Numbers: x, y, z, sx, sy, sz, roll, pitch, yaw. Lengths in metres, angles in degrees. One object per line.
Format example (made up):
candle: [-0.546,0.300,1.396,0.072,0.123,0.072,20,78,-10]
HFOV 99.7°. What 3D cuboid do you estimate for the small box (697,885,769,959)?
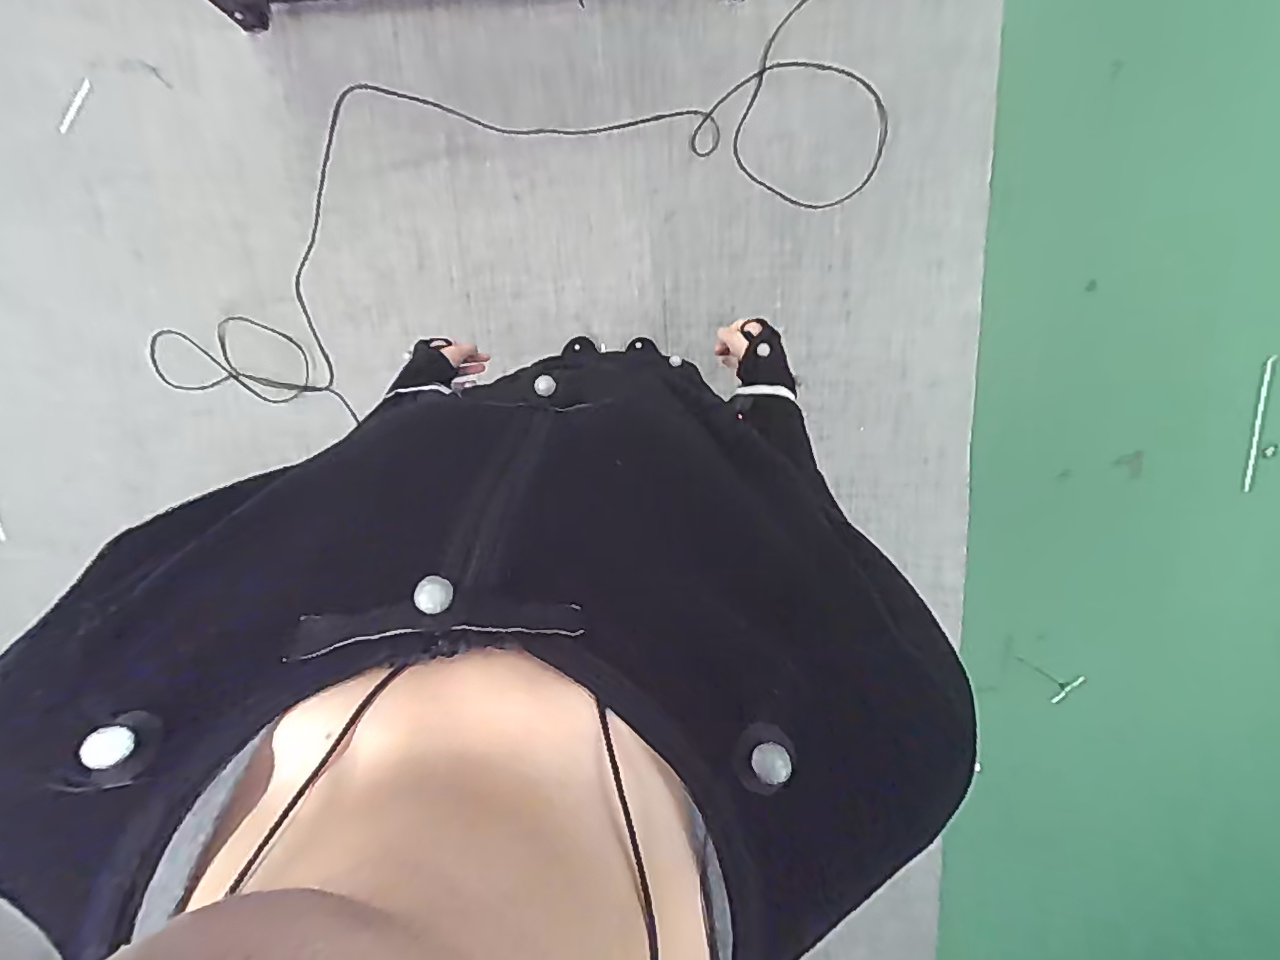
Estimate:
small box: [0.247,1.250,1.469,0.168,0.176,0.179,0,101,0]
